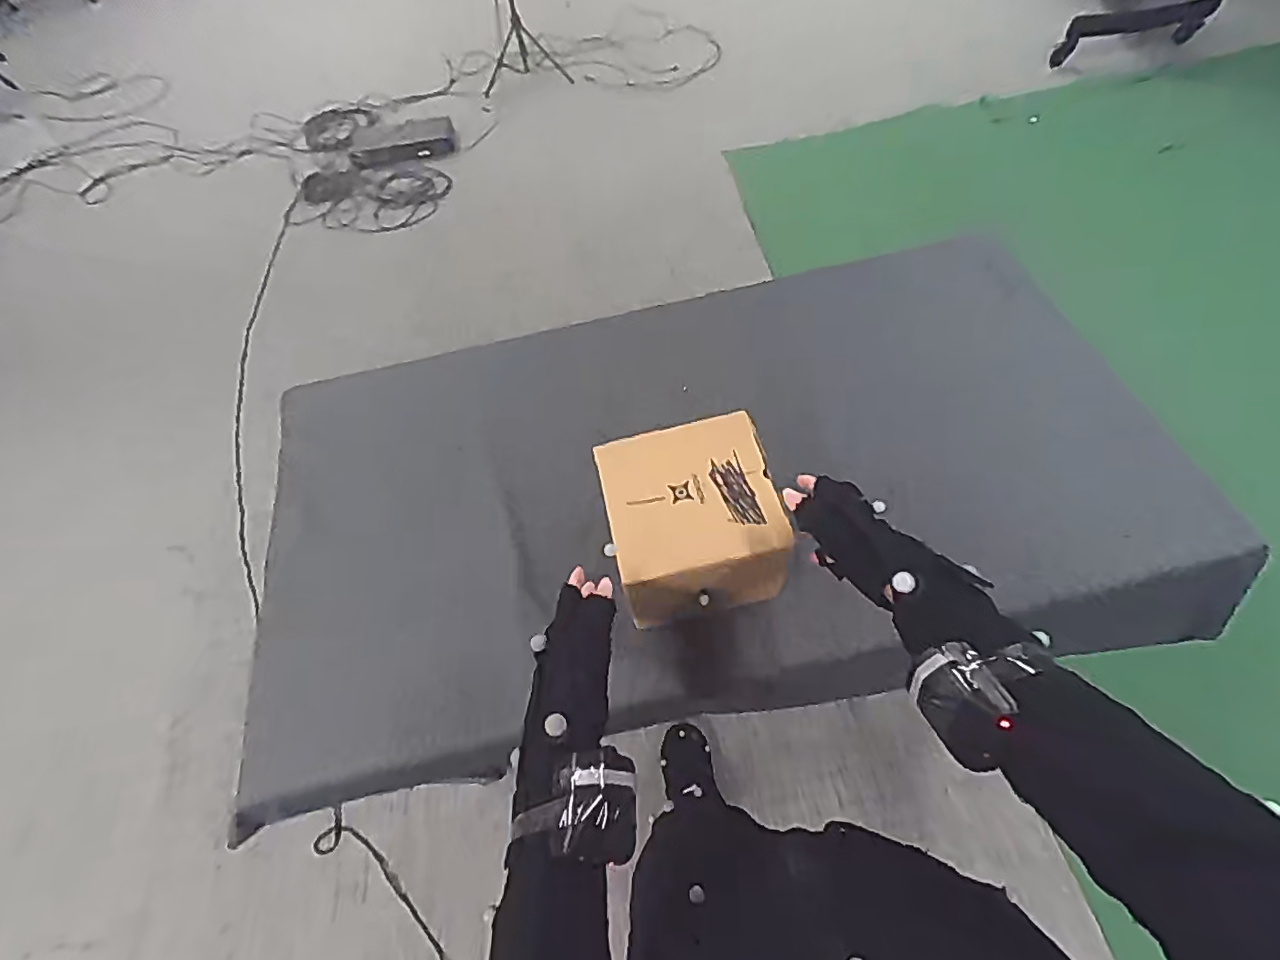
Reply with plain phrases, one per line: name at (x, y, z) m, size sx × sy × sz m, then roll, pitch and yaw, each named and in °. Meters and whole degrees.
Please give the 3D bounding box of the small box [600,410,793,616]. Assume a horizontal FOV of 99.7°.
small box at (0.057, 0.045, 0.627) m, size 0.179 × 0.176 × 0.168 m, roll -10°, pitch 59°, yaw 0°
